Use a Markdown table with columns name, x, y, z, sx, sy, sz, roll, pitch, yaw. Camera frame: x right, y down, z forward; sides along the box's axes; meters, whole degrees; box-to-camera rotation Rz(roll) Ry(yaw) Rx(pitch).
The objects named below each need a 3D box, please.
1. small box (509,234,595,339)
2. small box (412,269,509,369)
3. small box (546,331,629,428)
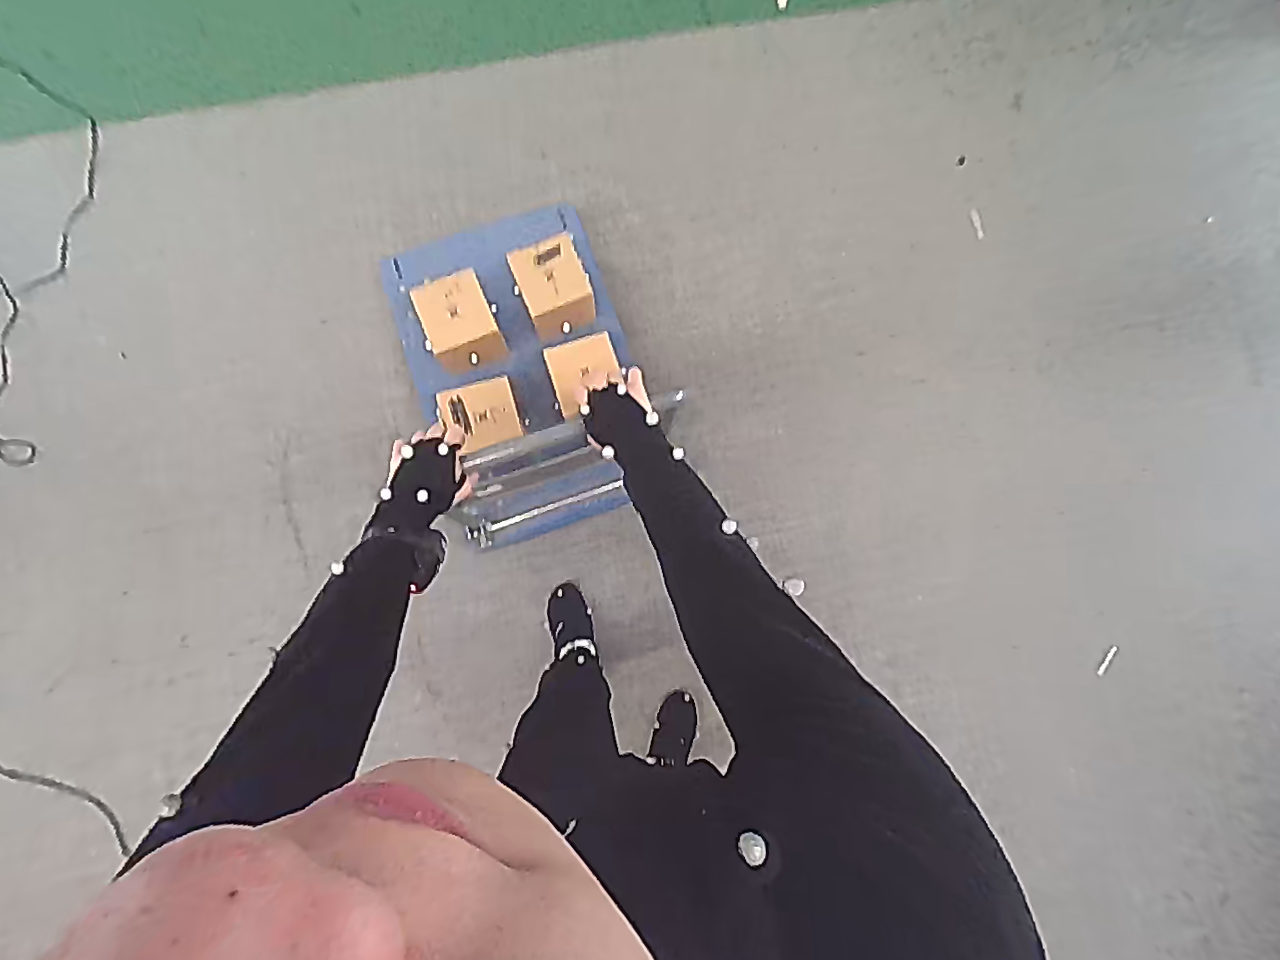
| name | x | y | z | sx | sy | sz | roll | pitch | yaw |
| --- | --- | --- | --- | --- | --- | --- | --- | --- | --- |
| small box | -0.227 | -0.505 | 1.427 | 0.168 | 0.176 | 0.179 | -23 | 84 | -5 |
| small box | -0.456 | -0.405 | 1.403 | 0.168 | 0.176 | 0.179 | -23 | 83 | -6 |
| small box | -0.133 | -0.253 | 1.396 | 0.168 | 0.176 | 0.179 | -19 | 83 | -5 |
